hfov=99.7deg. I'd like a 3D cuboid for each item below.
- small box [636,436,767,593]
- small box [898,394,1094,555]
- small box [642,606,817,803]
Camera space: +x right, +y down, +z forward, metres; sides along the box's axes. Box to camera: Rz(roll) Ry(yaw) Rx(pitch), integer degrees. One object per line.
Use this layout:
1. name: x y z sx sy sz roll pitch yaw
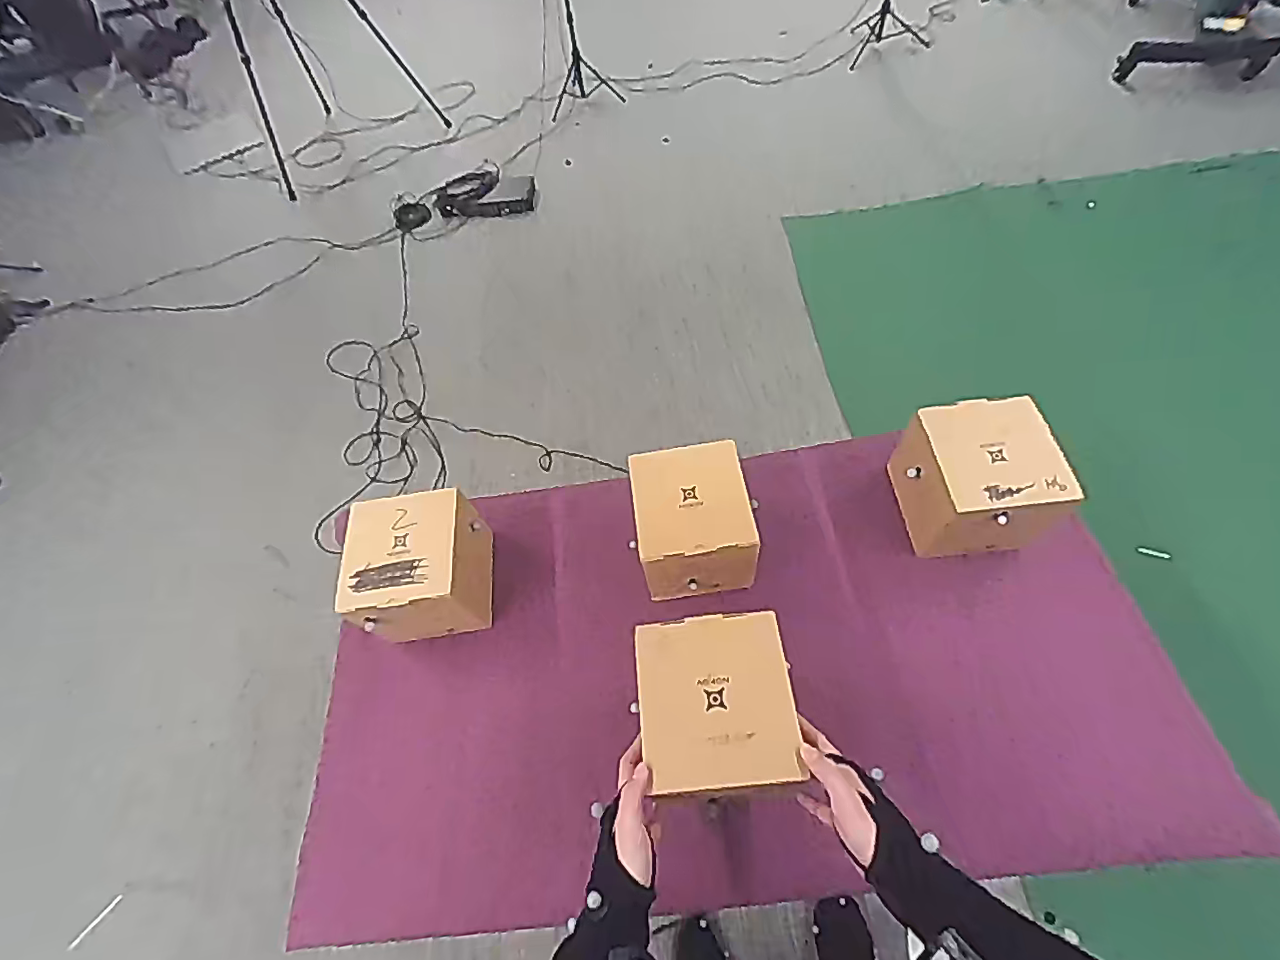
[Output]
1. small box: 0.088 0.058 0.835 0.168 0.176 0.179 -8 60 1
2. small box: 0.513 -0.003 0.817 0.168 0.176 0.179 -6 60 5
3. small box: 0.095 0.268 0.636 0.168 0.176 0.179 -7 55 4
